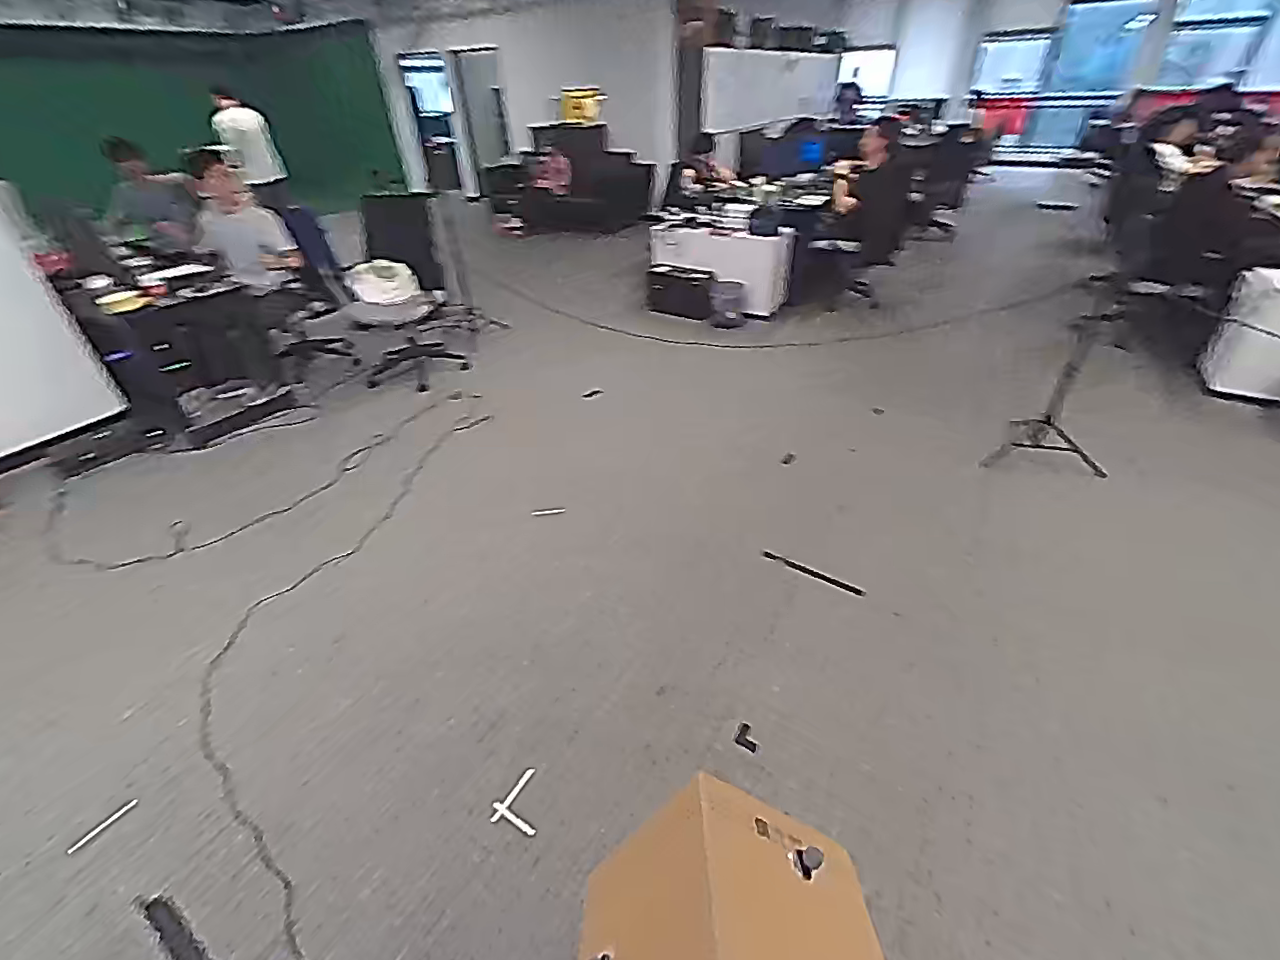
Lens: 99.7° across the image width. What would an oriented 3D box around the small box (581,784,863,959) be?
[{"bbox_3d":[0.061,0.382,0.415,0.168,0.179,0.176,32,19,-14],"label":"small box"}]
